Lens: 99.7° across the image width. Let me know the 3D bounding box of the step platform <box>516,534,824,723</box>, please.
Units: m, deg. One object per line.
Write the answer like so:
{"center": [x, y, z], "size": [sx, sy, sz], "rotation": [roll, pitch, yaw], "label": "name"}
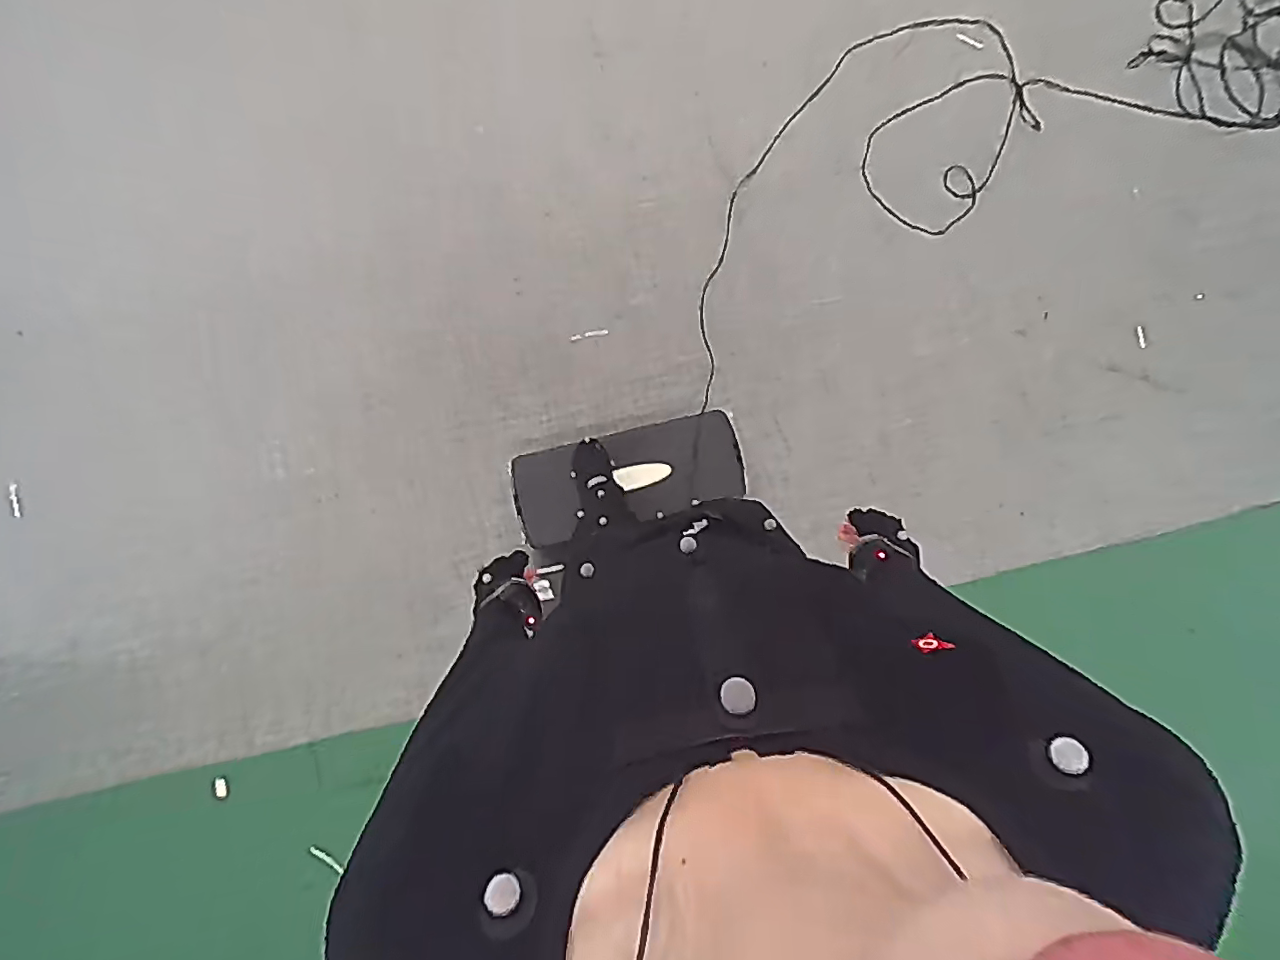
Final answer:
{"center": [0.066, 0.340, 1.298], "size": [0.684, 0.204, 0.286], "rotation": [-13, 87, -3], "label": "step platform"}
